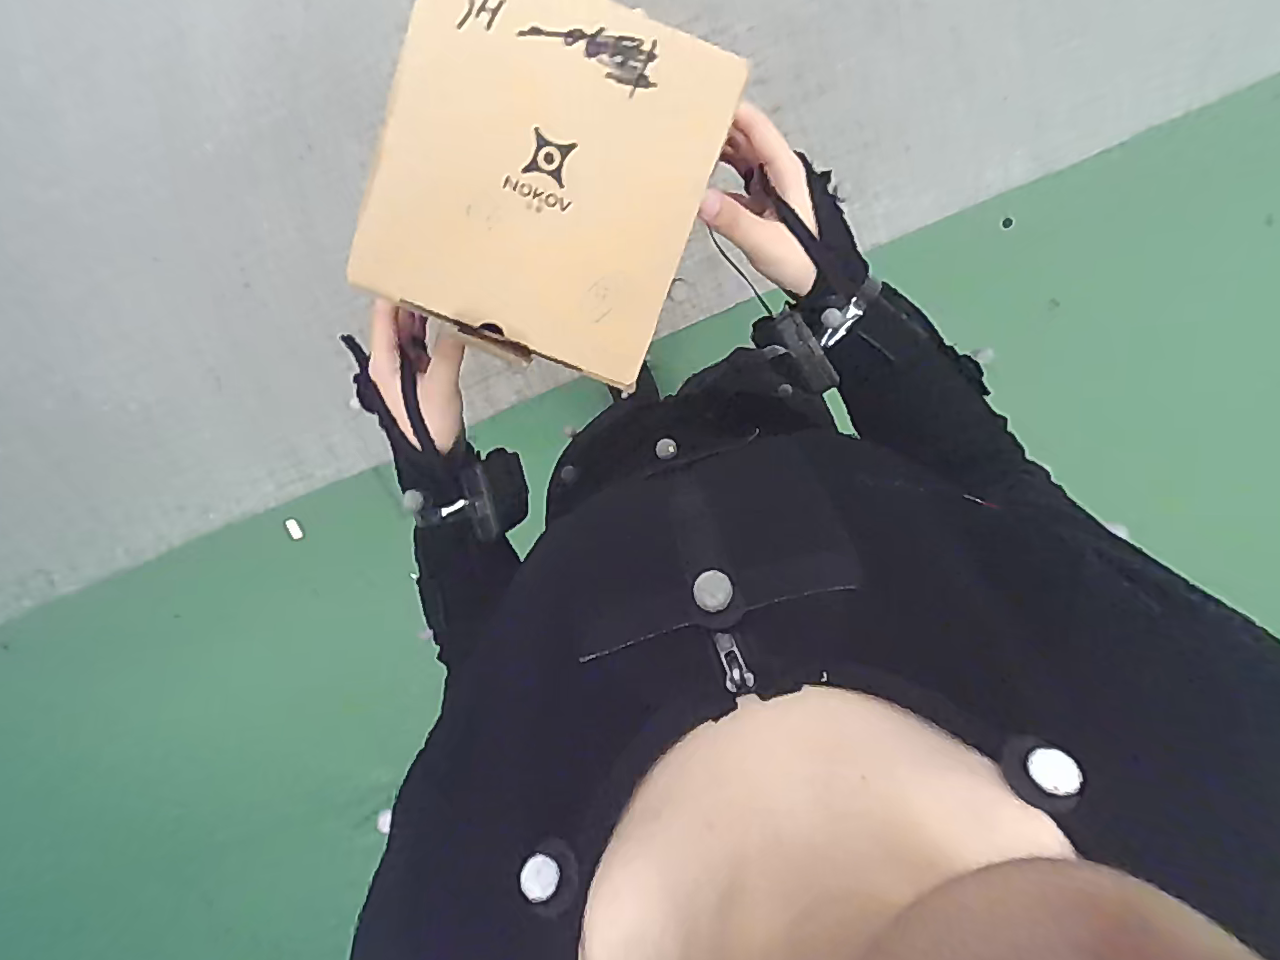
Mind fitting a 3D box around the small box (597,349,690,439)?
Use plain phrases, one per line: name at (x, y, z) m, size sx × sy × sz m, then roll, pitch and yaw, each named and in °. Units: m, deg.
small box at (0.007, -0.202, 1.271) m, size 0.179 × 0.176 × 0.168 m, roll 19°, pitch 102°, yaw 6°
